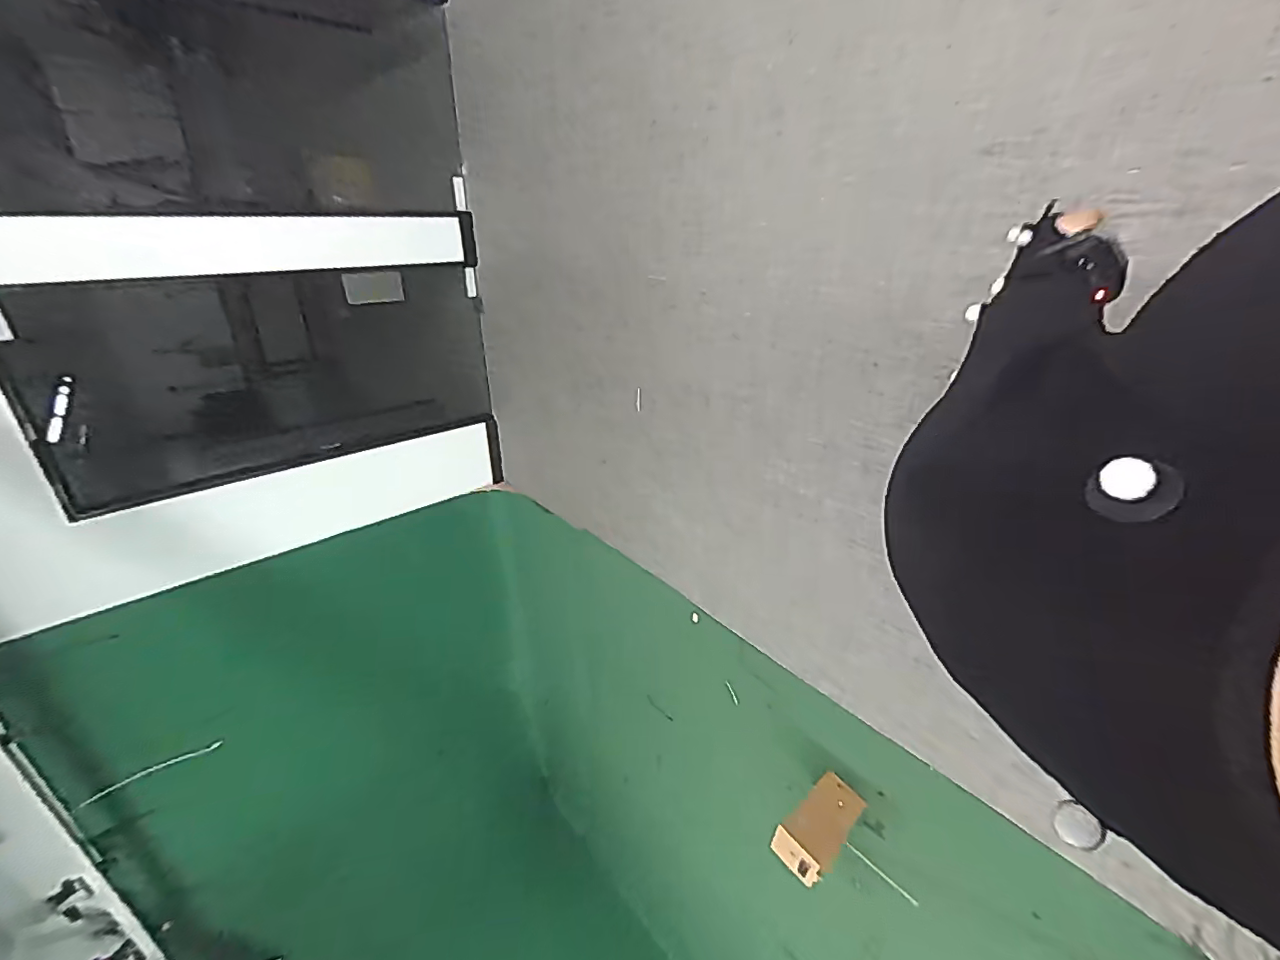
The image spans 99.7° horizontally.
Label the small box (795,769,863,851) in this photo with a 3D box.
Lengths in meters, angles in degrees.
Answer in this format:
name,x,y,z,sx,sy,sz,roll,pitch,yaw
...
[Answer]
name,x,y,z,sx,sy,sz,roll,pitch,yaw
small box,0.729,1.261,2.078,0.168,0.176,0.179,35,132,37
